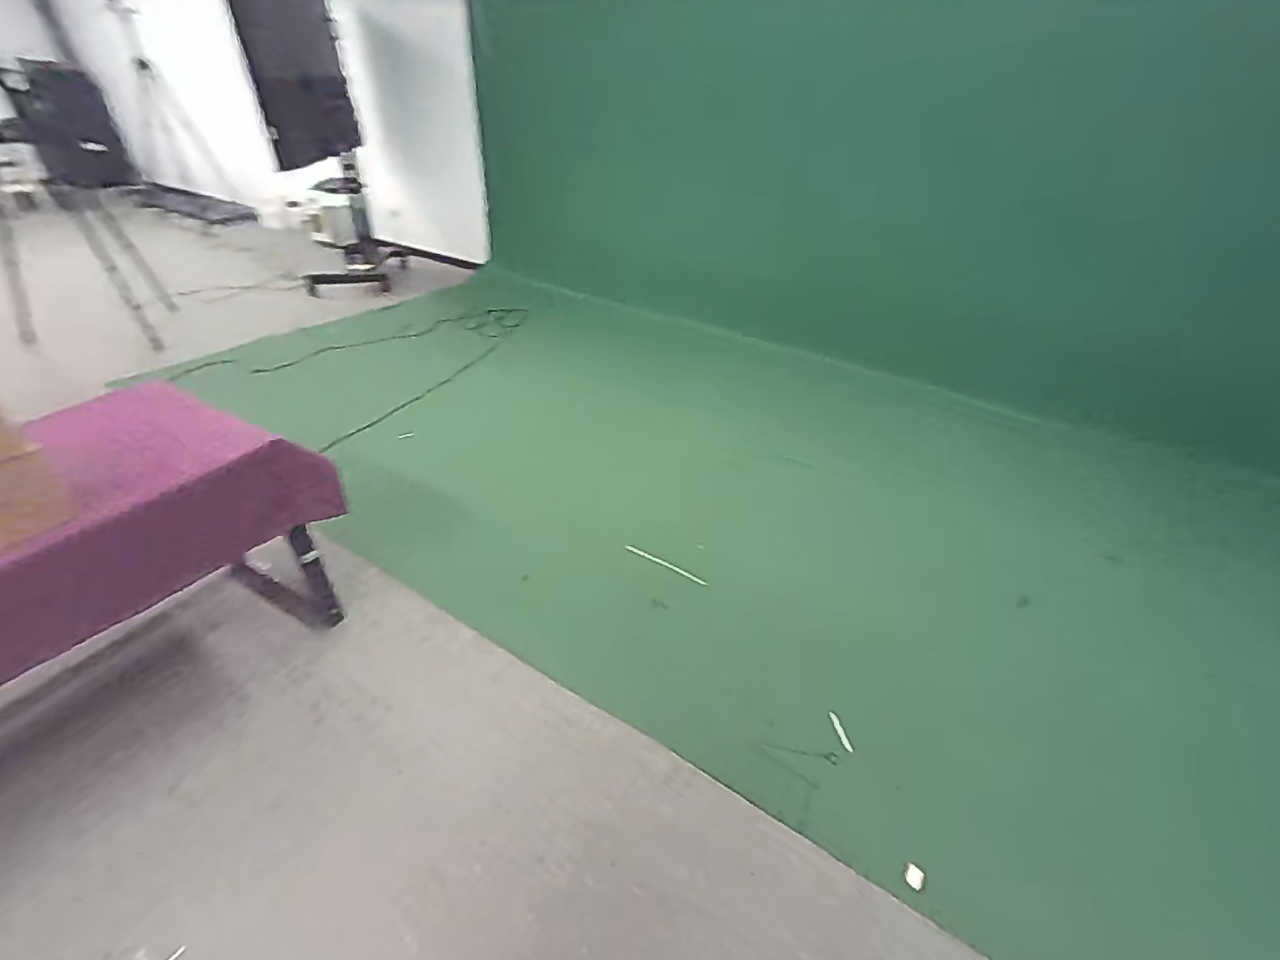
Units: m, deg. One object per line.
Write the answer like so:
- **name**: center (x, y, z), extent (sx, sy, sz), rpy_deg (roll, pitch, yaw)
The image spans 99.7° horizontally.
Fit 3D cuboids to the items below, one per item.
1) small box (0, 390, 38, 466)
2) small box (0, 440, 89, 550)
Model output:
- **small box**: center (-1.299, -0.111, 1.002), extent (0.179, 0.176, 0.168), rpy_deg (21, 39, 22)
- **small box**: center (-1.299, 0.022, 1.097), extent (0.168, 0.176, 0.179), rpy_deg (20, 40, 21)
